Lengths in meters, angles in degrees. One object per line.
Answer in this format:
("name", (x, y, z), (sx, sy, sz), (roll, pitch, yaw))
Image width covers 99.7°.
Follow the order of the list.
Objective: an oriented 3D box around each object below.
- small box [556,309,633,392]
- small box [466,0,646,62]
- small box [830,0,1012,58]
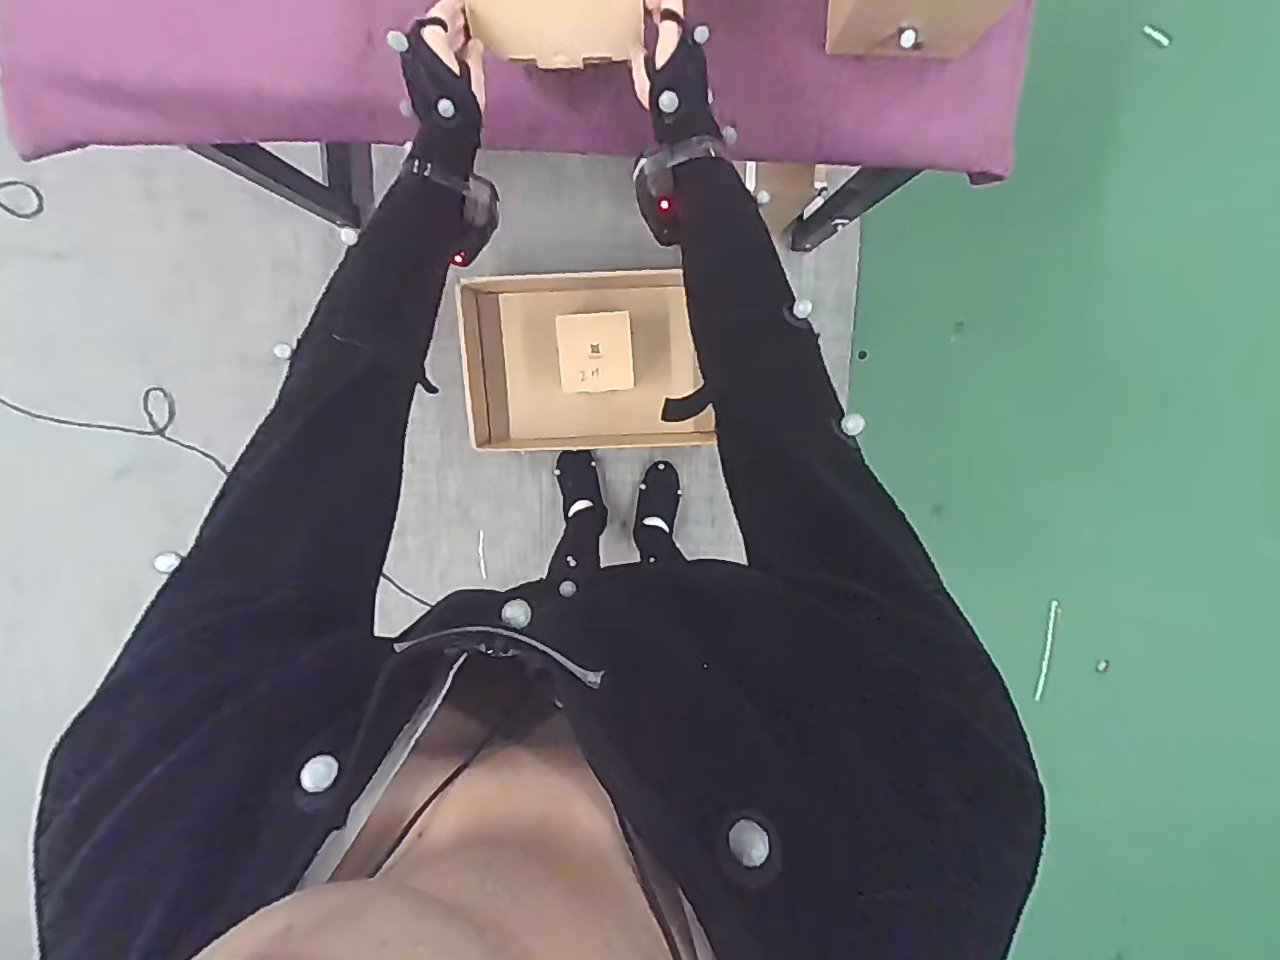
("small box", (-0.103, -0.301, 1.281), (0.168, 0.176, 0.179), (-3, 102, 0))
("small box", (-0.077, -0.524, 0.518), (0.168, 0.176, 0.179), (0, 134, 1))
("small box", (0.307, -0.580, 0.550), (0.168, 0.176, 0.179), (1, 100, -1))
